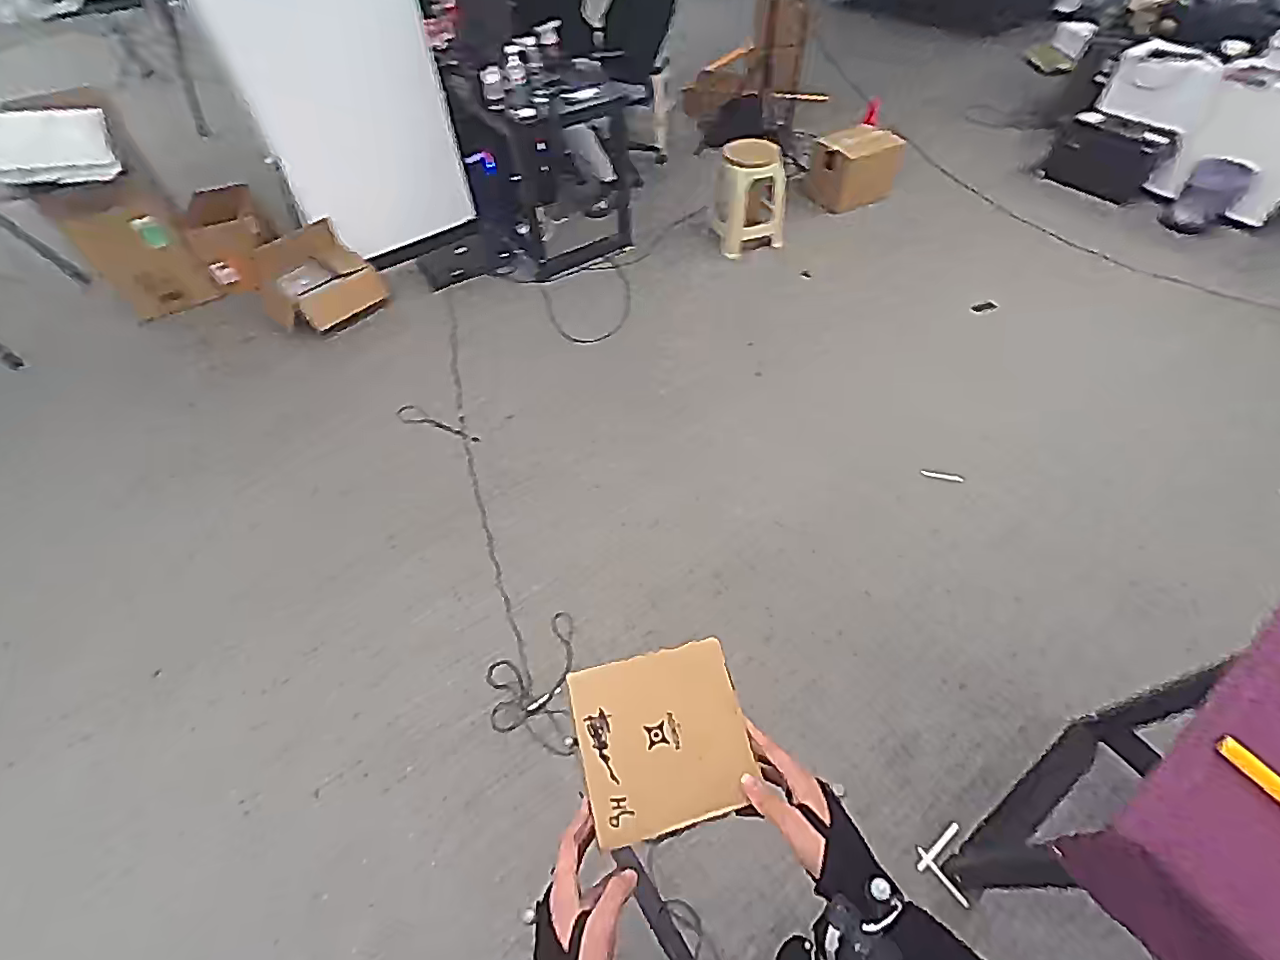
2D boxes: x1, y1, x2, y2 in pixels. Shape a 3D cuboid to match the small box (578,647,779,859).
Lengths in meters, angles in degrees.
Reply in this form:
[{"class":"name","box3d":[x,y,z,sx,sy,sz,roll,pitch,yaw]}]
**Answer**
[{"class":"small box","box3d":[0.028,0.305,0.619,0.179,0.176,0.168,-9,62,-12]}]
